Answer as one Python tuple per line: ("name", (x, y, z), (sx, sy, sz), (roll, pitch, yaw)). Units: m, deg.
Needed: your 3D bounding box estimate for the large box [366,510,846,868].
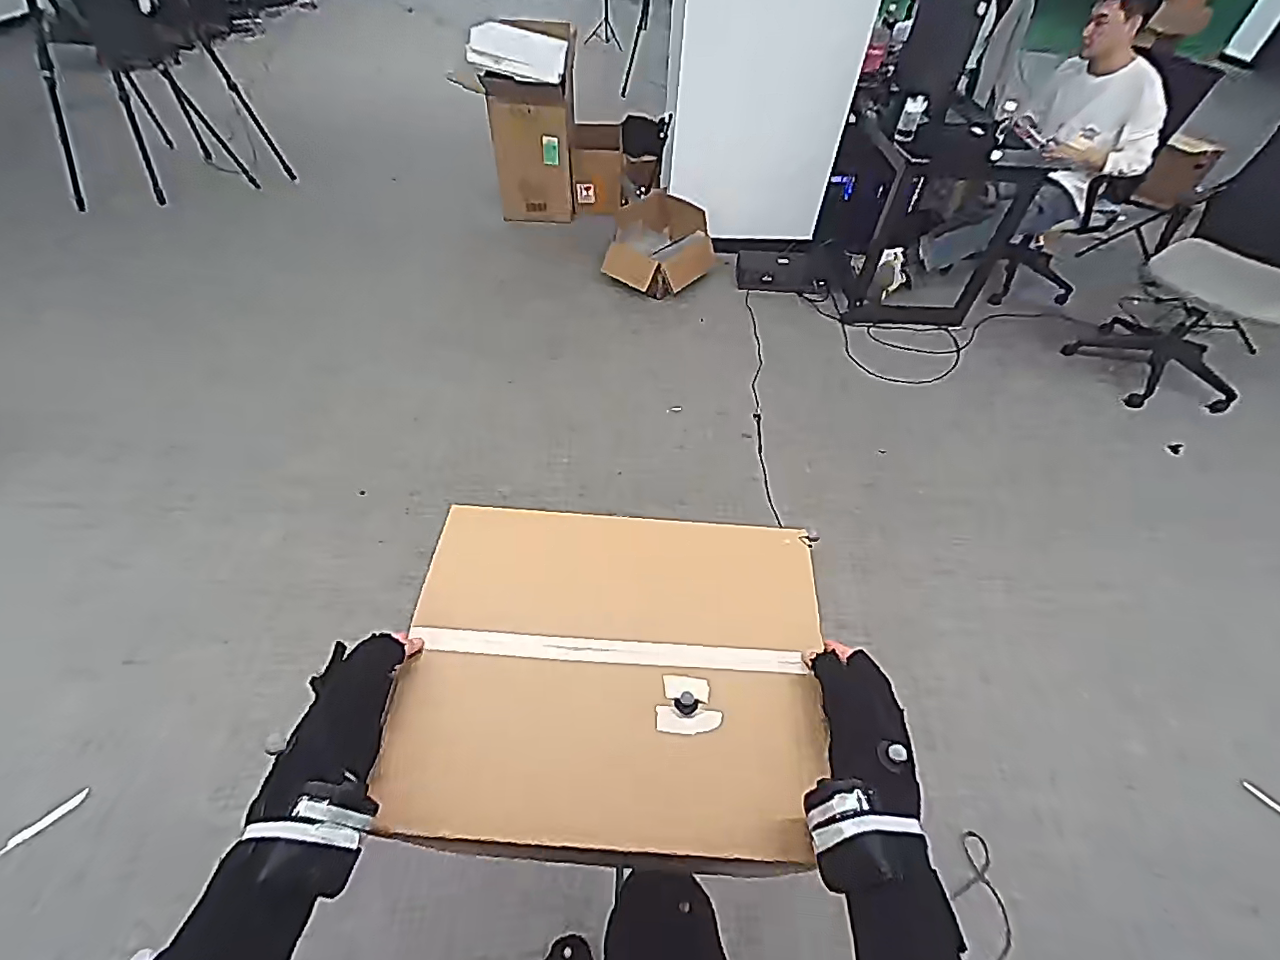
("large box", (-0.029, 0.258, 0.647), (0.408, 0.320, 0.320), (4, 52, 0))
